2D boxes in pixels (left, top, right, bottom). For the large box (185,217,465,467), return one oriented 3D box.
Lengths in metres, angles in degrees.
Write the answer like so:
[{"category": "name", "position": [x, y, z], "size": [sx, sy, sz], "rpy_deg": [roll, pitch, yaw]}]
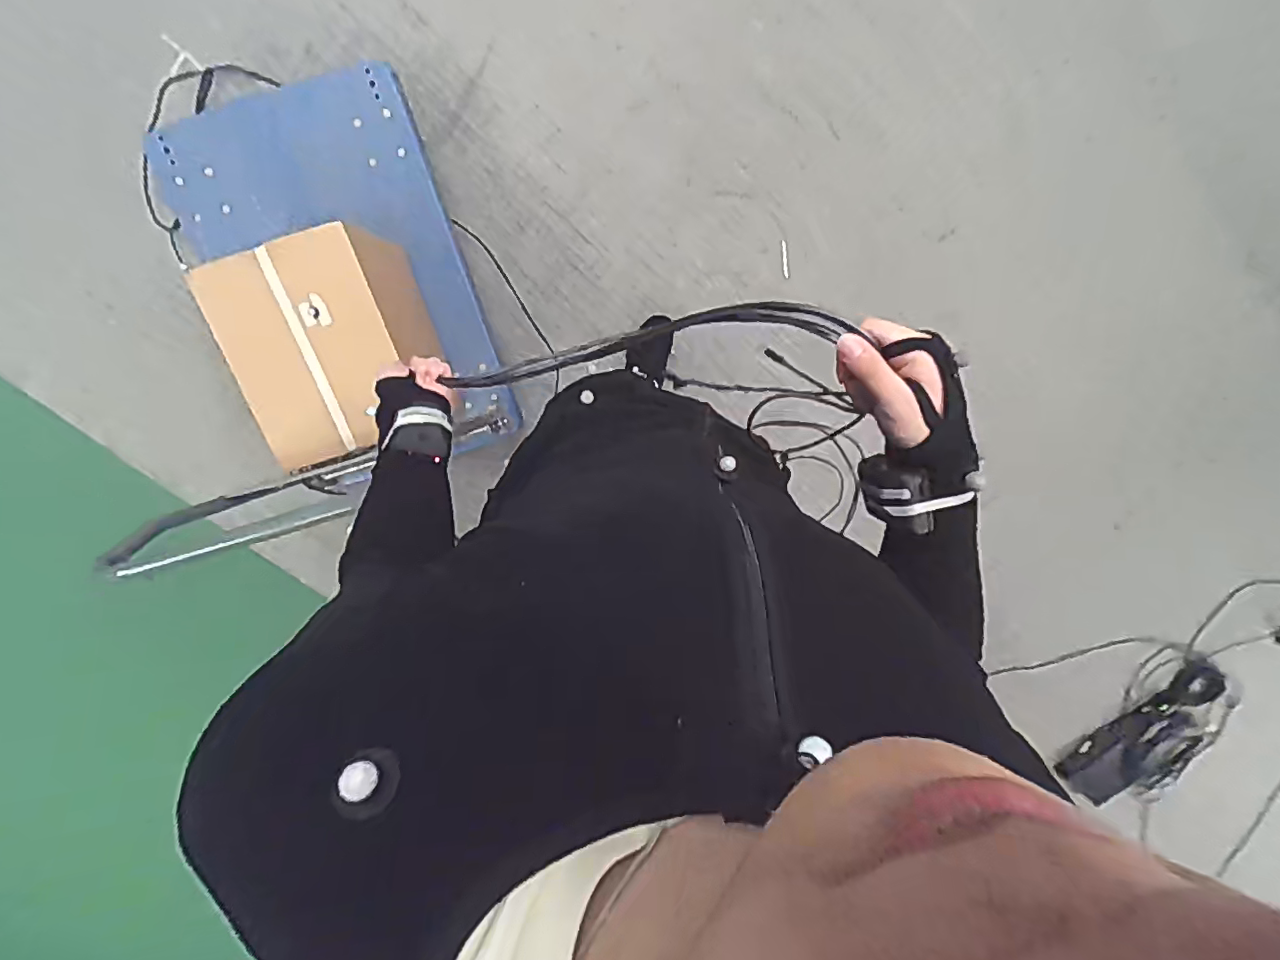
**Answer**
[{"category": "large box", "position": [-0.634, -0.286, 1.174], "size": [0.320, 0.320, 0.408], "rpy_deg": [-18, 104, 1]}]
